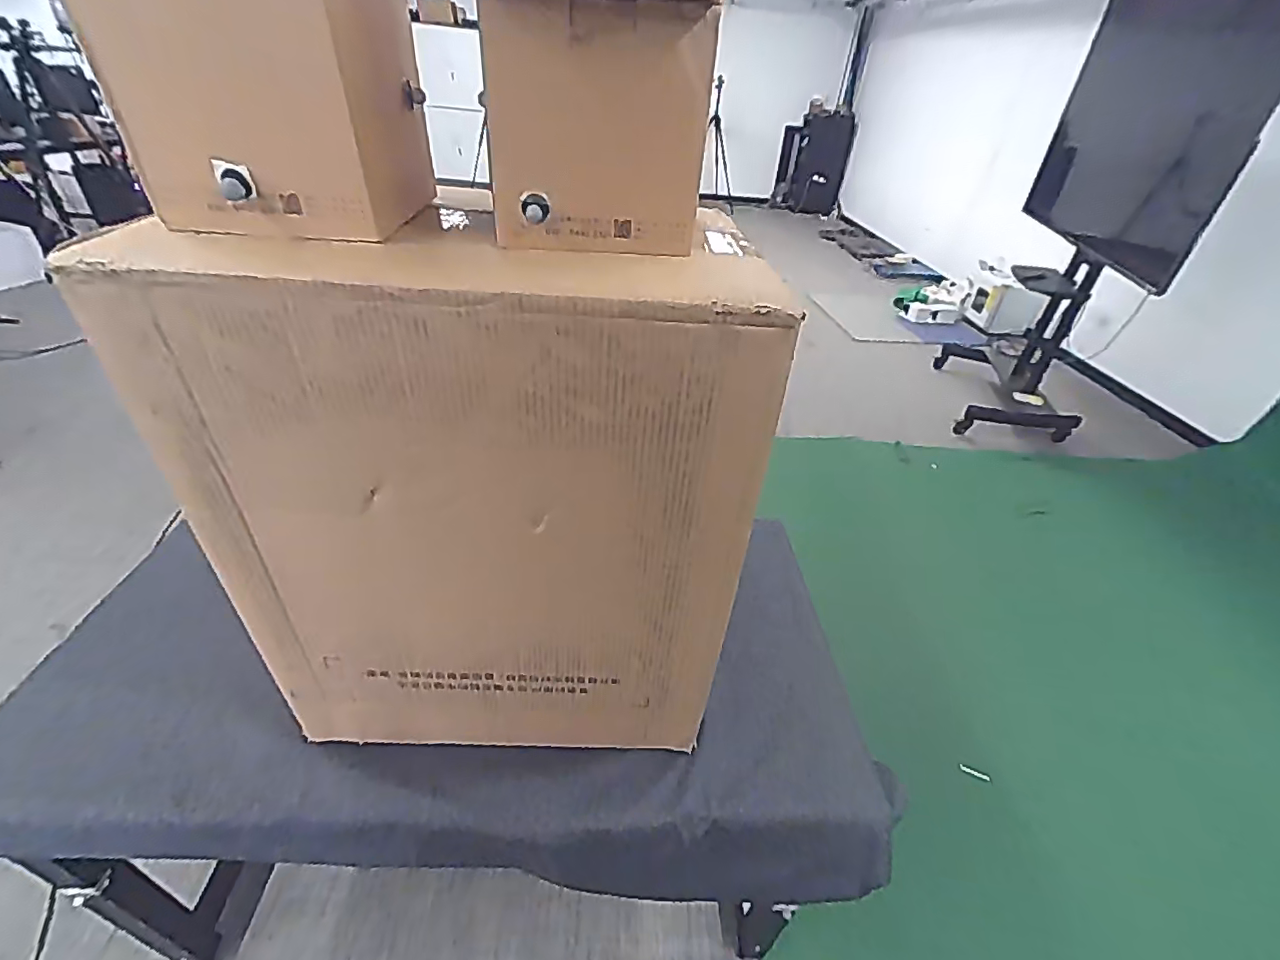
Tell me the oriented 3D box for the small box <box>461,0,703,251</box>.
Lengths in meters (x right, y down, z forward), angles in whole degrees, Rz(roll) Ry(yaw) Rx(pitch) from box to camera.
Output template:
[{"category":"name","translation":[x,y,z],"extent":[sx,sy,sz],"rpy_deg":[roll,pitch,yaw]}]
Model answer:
[{"category":"small box","translation":[-0.049,-0.308,0.471],"extent":[0.168,0.176,0.179],"rpy_deg":[-2,38,-8]}]

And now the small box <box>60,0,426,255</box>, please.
[{"category":"small box","translation":[-0.289,-0.299,0.442],"extent":[0.168,0.176,0.179],"rpy_deg":[-1,40,-3]}]

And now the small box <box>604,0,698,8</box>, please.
[{"category":"small box","translation":[-0.039,-0.423,0.354],"extent":[0.168,0.176,0.179],"rpy_deg":[-1,38,-6]}]
